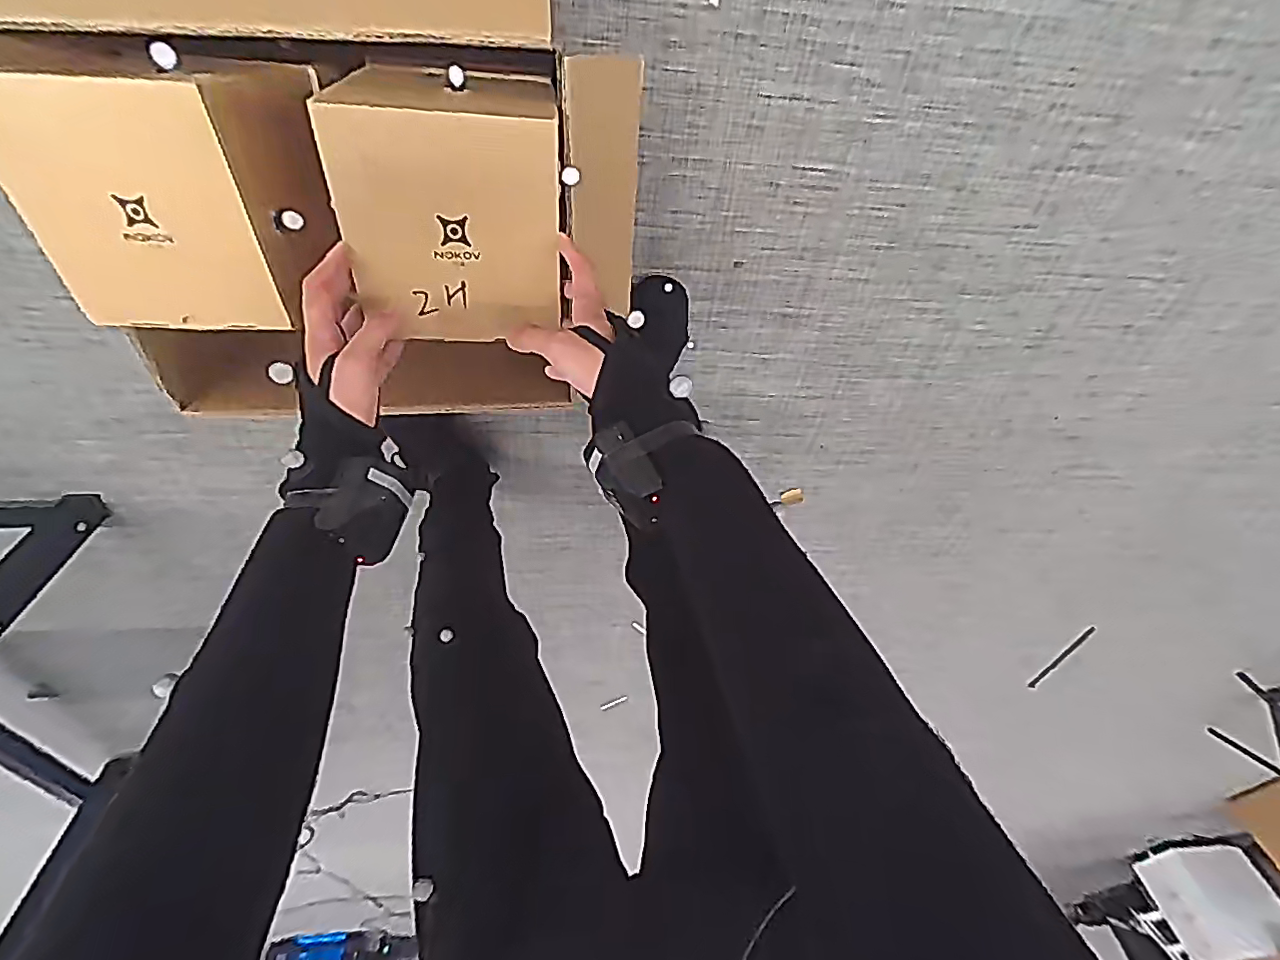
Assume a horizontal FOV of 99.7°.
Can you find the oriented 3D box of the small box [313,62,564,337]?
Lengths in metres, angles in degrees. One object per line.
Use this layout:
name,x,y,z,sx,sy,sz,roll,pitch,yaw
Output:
small box,-0.152,-0.246,0.476,0.168,0.176,0.179,-1,134,-8
